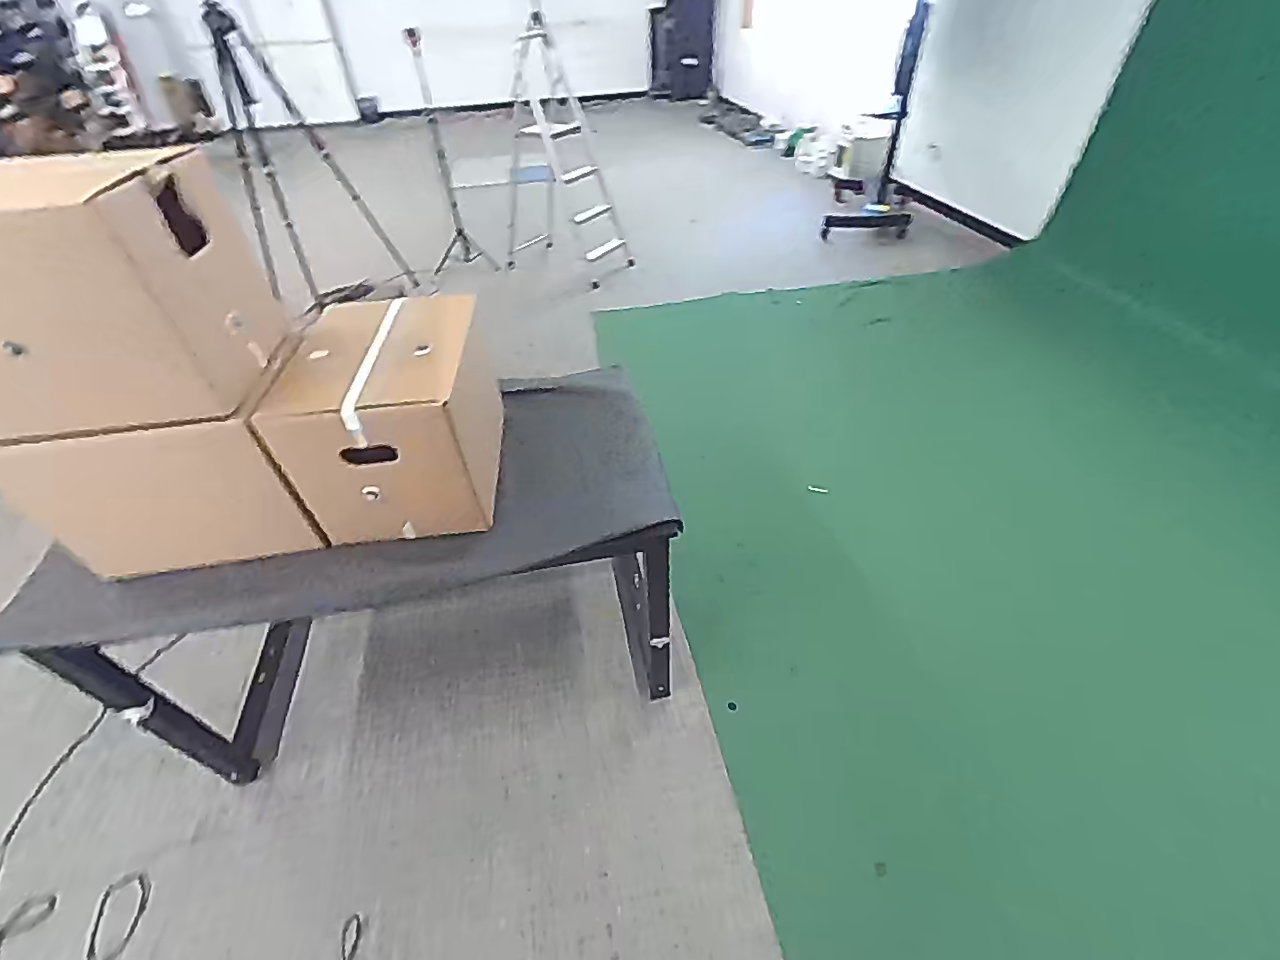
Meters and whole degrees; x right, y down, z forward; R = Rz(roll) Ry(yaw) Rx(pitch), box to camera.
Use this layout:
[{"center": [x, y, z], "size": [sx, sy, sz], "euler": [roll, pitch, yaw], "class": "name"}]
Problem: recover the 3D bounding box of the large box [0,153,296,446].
[{"center": [-0.846, -0.282, 0.838], "size": [0.408, 0.320, 0.320], "euler": [-8, 42, -4], "class": "large box"}]
